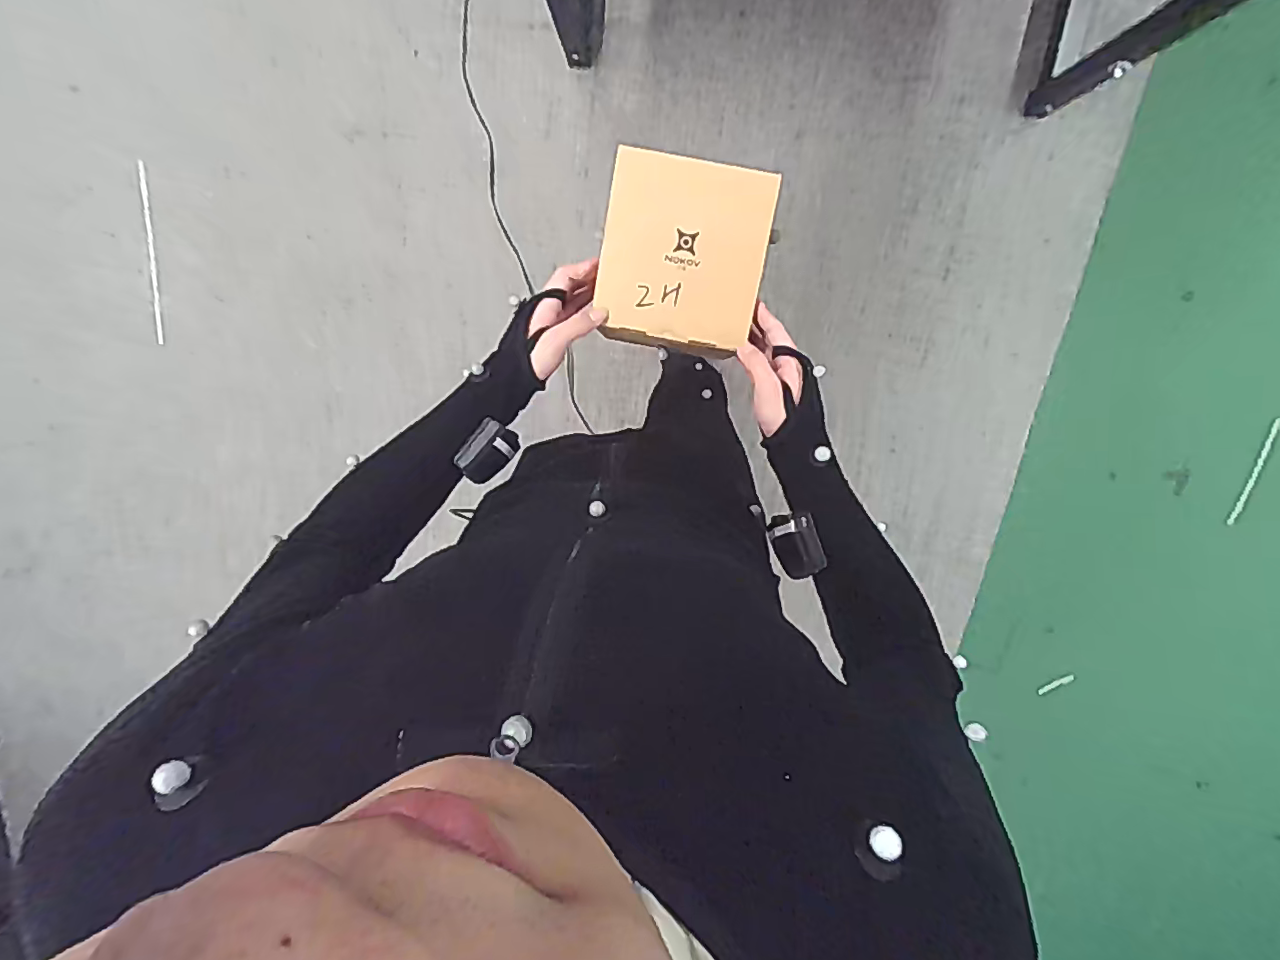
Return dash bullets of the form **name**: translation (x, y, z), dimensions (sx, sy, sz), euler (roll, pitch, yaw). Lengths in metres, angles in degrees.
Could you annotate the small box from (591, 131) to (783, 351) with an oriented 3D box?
- **small box**: translation (0.046, -0.252, 0.614), dimensions (0.168, 0.176, 0.179), euler (11, 100, 0)
